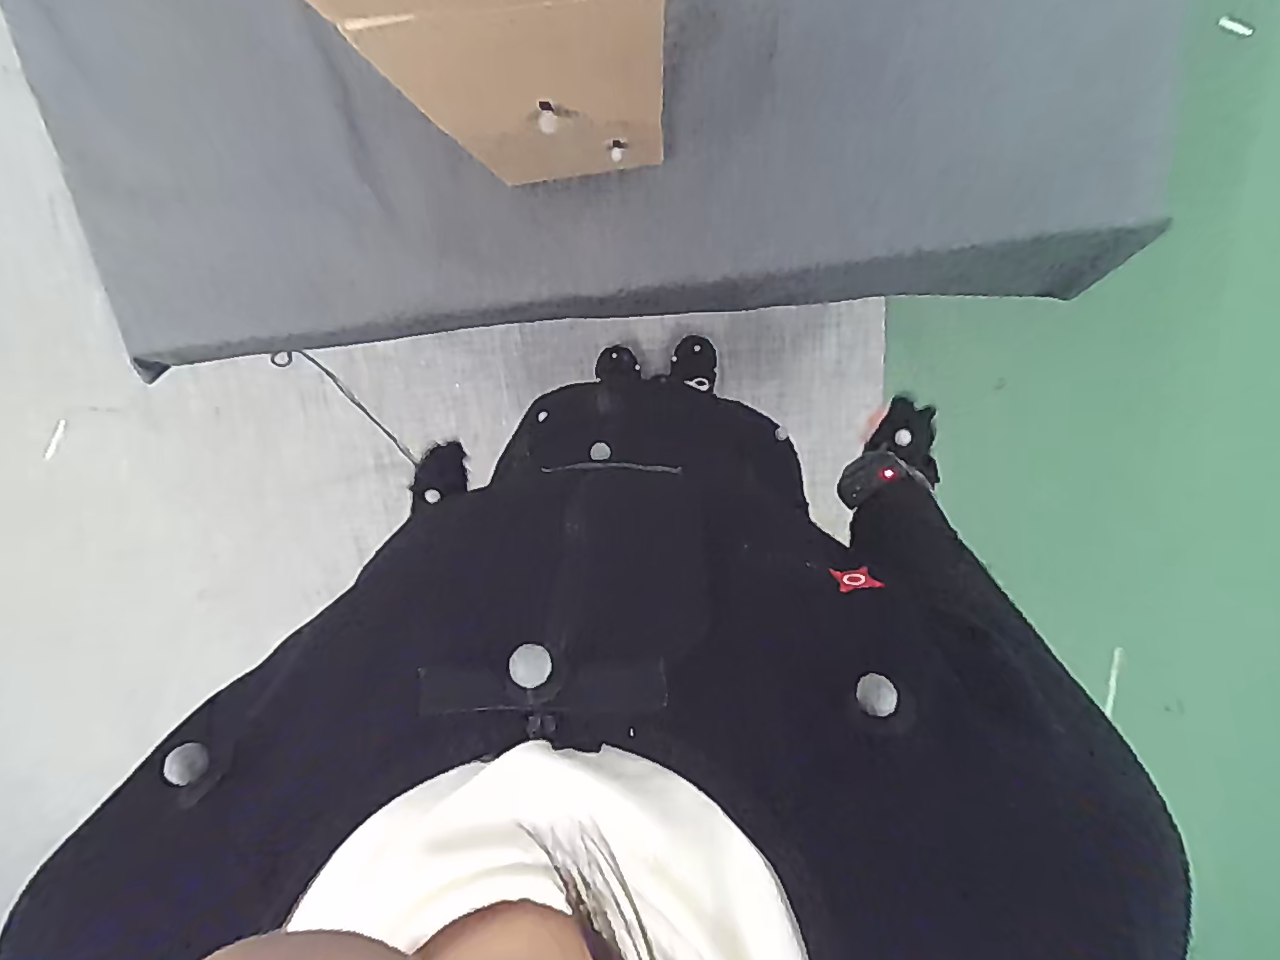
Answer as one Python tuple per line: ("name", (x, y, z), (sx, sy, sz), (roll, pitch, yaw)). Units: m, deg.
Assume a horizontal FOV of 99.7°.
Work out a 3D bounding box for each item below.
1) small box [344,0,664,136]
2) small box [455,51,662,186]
("small box", (-0.079, -0.347, 0.346), (0.179, 0.176, 0.168), (-5, 104, 3))
("small box", (-0.075, -0.393, 0.502), (0.179, 0.176, 0.168), (-7, 104, 5))
